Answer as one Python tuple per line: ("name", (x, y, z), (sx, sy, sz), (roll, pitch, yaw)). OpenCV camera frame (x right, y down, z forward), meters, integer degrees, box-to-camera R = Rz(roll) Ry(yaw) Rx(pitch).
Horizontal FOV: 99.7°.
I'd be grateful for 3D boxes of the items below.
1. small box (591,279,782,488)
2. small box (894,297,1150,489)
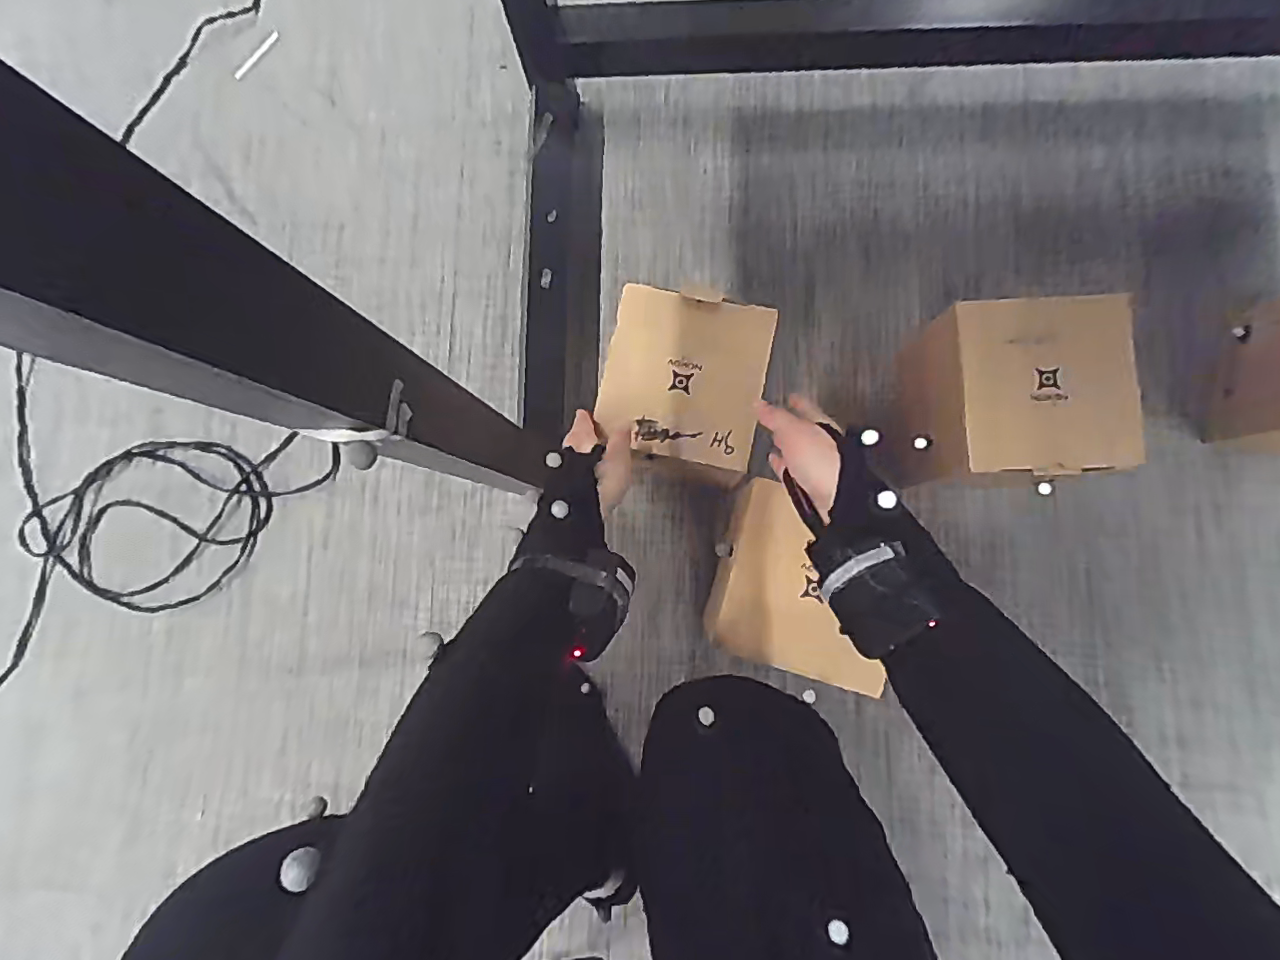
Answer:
("small box", (0.052, -0.099, 0.627), (0.168, 0.176, 0.179), (13, 84, 6))
("small box", (0.400, -0.082, 0.599), (0.168, 0.176, 0.179), (-1, 82, 4))
